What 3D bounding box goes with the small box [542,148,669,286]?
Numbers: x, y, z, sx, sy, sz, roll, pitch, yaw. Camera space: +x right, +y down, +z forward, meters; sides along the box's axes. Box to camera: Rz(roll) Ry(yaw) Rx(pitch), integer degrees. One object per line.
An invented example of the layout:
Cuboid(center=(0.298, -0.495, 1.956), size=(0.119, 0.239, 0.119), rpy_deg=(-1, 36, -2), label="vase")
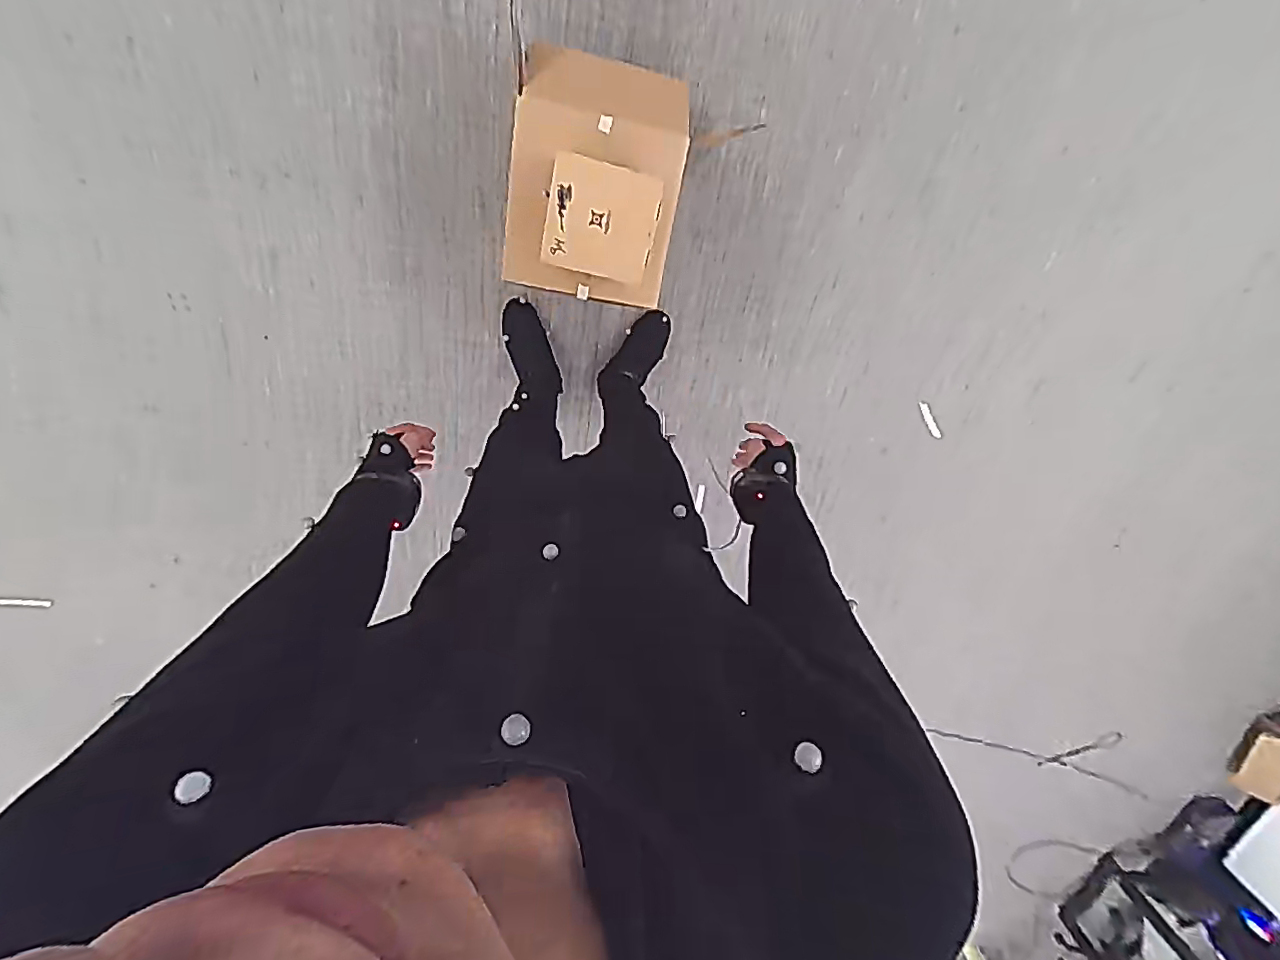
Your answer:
Cuboid(center=(-0.066, -0.449, 0.931), size=(0.179, 0.176, 0.168), rpy_deg=(10, 115, -13), label="small box")
